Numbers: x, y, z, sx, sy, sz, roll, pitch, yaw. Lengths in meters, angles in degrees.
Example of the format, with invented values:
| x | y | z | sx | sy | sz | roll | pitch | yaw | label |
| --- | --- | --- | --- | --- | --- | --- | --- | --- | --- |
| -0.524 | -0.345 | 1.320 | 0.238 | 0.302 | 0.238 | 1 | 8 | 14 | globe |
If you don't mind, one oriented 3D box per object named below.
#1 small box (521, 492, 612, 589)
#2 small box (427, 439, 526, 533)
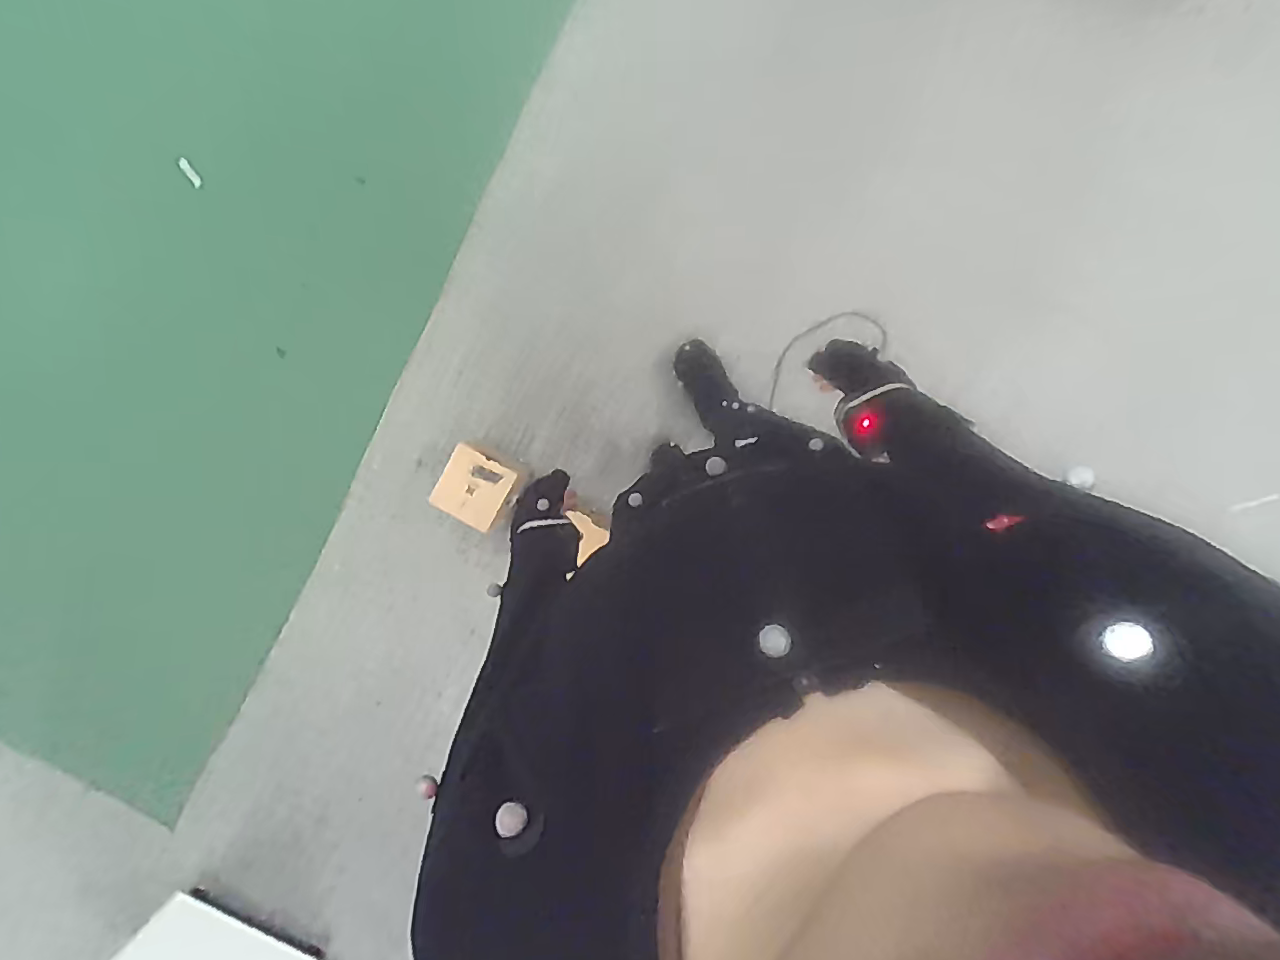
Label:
| x | y | z | sx | sy | sz | roll | pitch | yaw | label |
| --- | --- | --- | --- | --- | --- | --- | --- | --- | --- |
| -0.183 | 0.151 | 1.410 | 0.168 | 0.176 | 0.179 | 31 | 96 | -3 | small box |
| -0.410 | 0.006 | 1.393 | 0.168 | 0.176 | 0.179 | 30 | 97 | -3 | small box |
